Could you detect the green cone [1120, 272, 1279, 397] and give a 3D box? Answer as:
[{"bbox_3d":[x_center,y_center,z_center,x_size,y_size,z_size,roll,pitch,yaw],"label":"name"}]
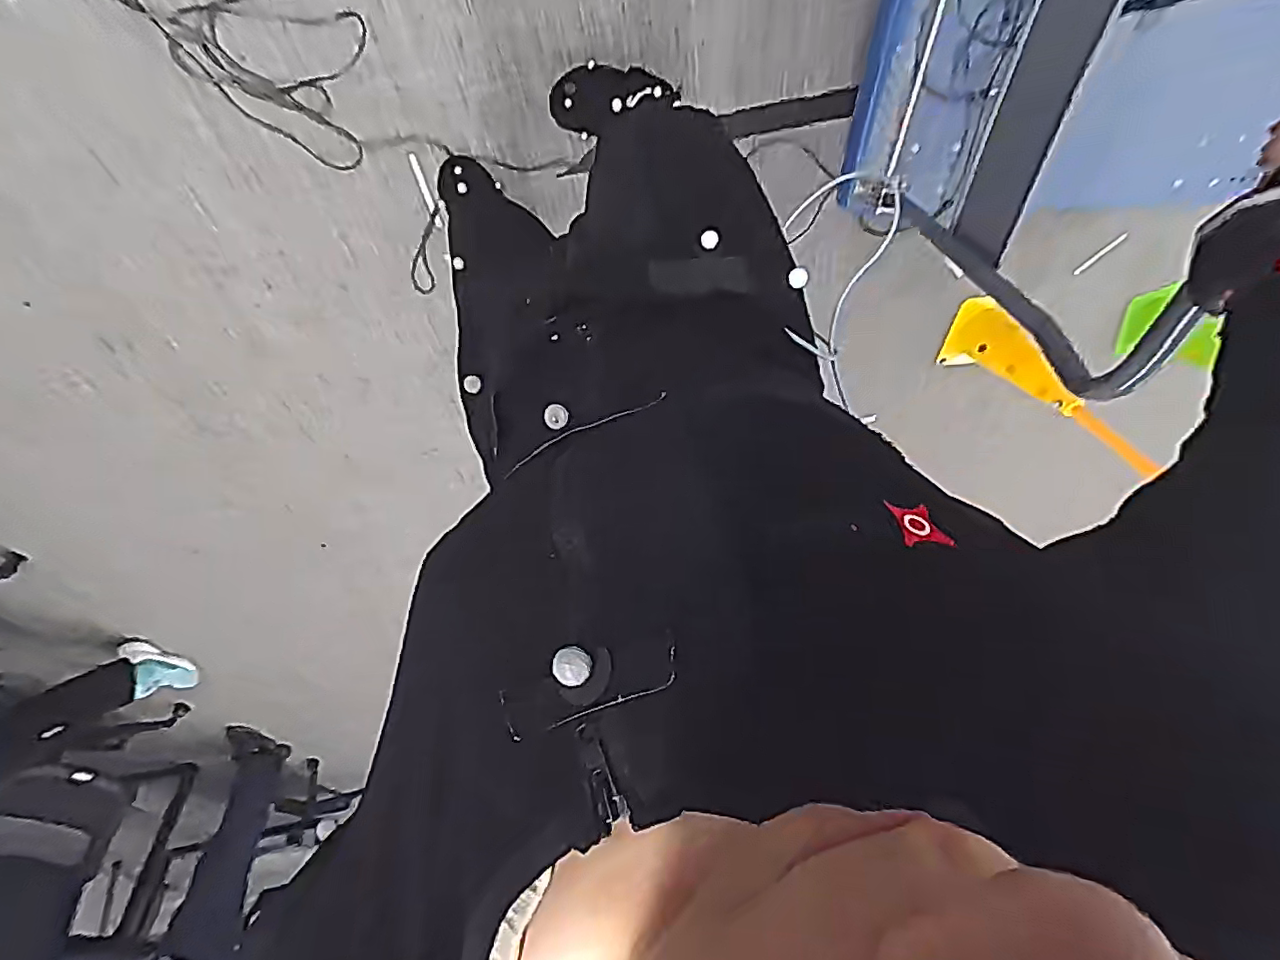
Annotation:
[{"bbox_3d":[1.473,-0.337,1.375,0.202,0.368,0.200,-20,134,12],"label":"green cone"}]
